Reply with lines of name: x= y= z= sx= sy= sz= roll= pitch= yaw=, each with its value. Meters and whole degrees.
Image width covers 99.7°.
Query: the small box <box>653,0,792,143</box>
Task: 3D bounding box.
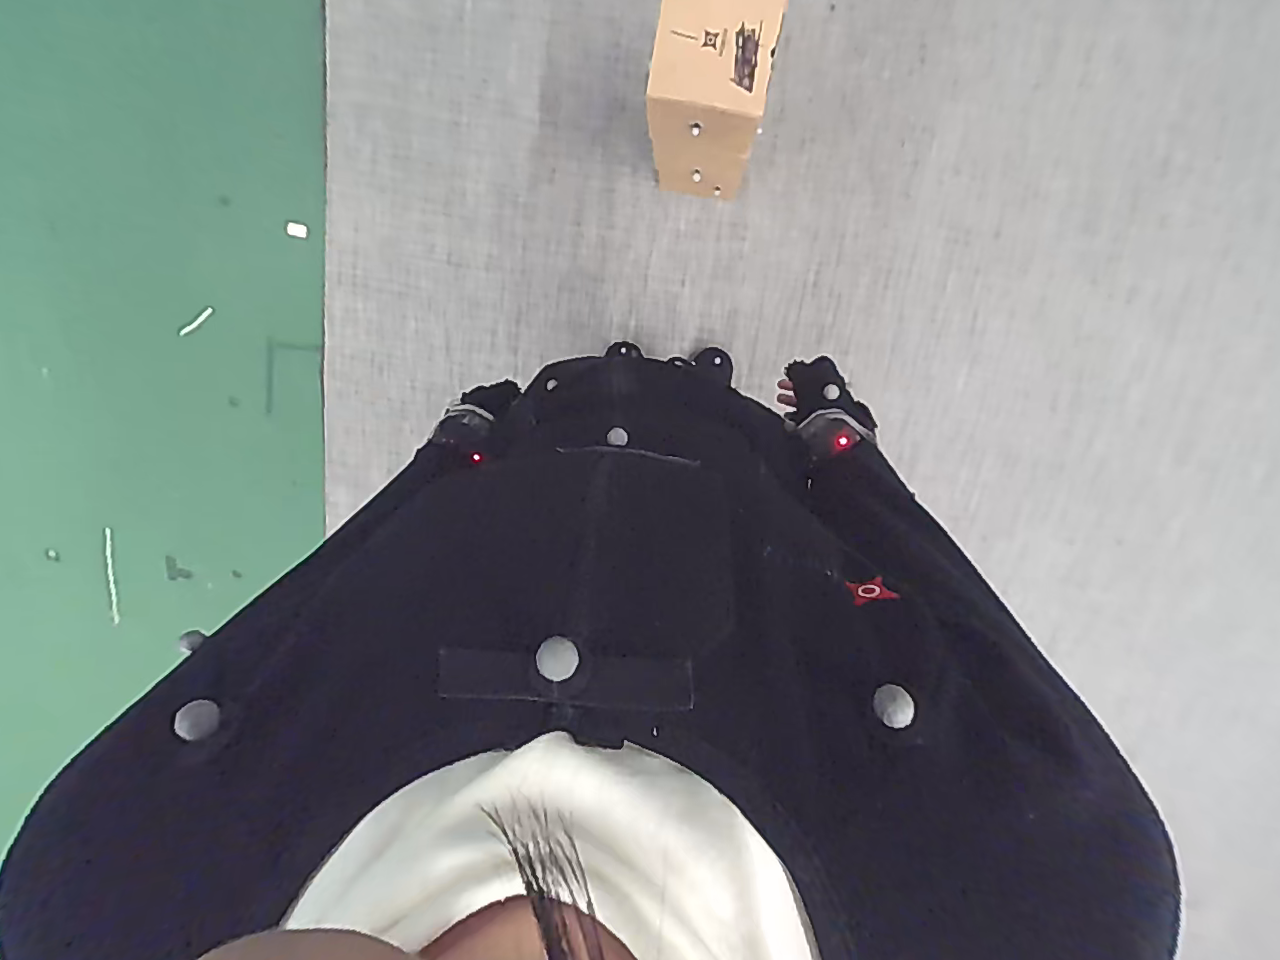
small box: x=0.120 y=-0.649 z=0.843 sx=0.179 sy=0.176 sz=0.168 roll=9 pitch=105 yaw=0

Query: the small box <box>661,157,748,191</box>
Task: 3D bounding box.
small box: x=0.148 y=-0.737 z=1.159 sx=0.179 sy=0.176 sz=0.168 roll=10 pitch=105 yaw=3

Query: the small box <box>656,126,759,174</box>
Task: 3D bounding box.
small box: x=0.134 y=-0.690 z=1.002 sx=0.179 sy=0.176 sz=0.168 roll=14 pitch=105 yaw=0
